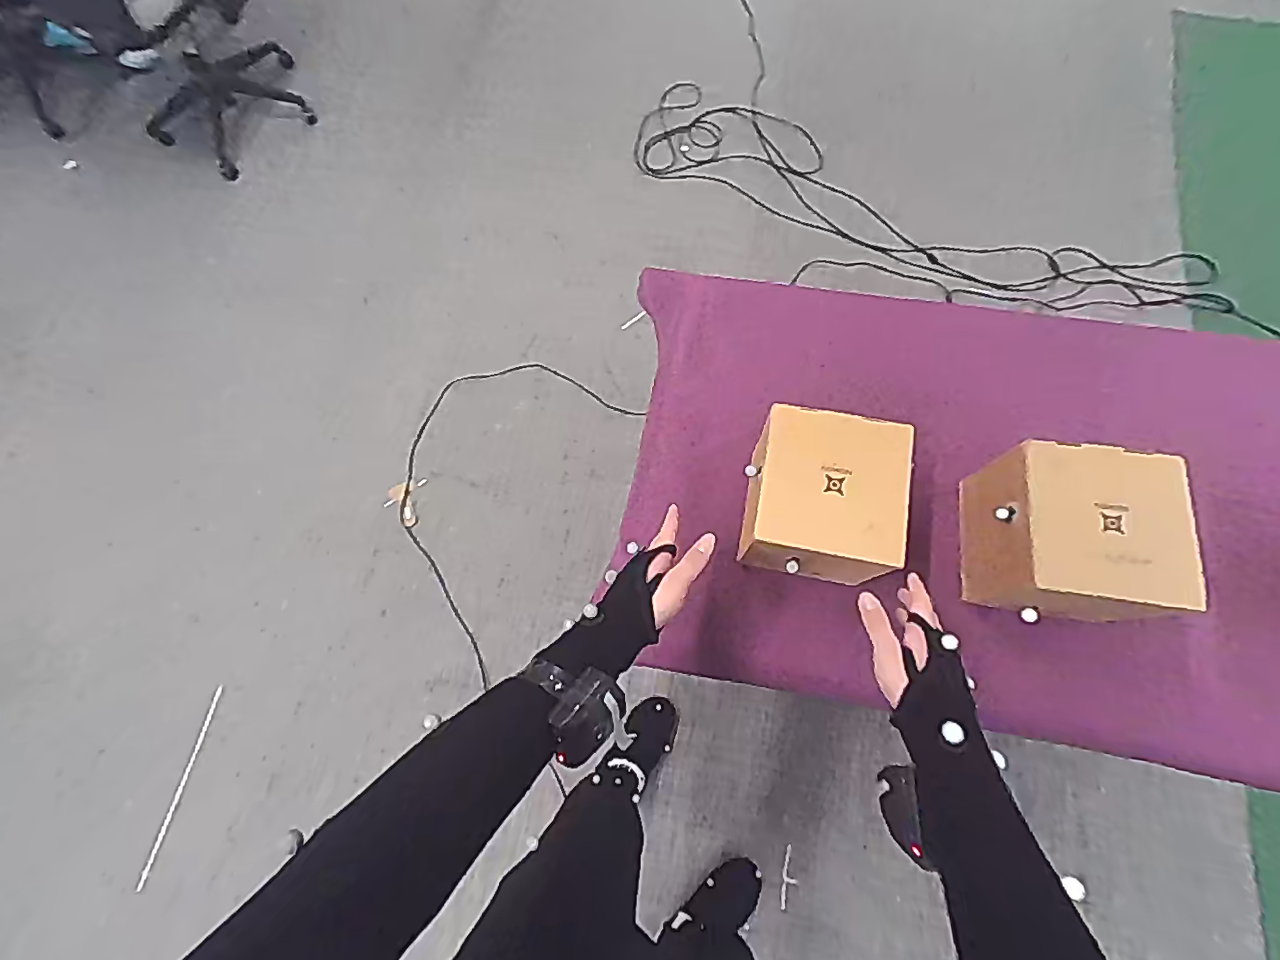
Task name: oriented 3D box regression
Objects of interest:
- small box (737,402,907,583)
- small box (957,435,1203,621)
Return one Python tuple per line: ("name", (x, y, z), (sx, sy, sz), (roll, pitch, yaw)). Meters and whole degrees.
("small box", (0.221, 0.025, 0.692), (0.168, 0.176, 0.179), (10, 72, 8))
("small box", (0.508, 0.066, 0.657), (0.168, 0.176, 0.179), (8, 72, 8))
